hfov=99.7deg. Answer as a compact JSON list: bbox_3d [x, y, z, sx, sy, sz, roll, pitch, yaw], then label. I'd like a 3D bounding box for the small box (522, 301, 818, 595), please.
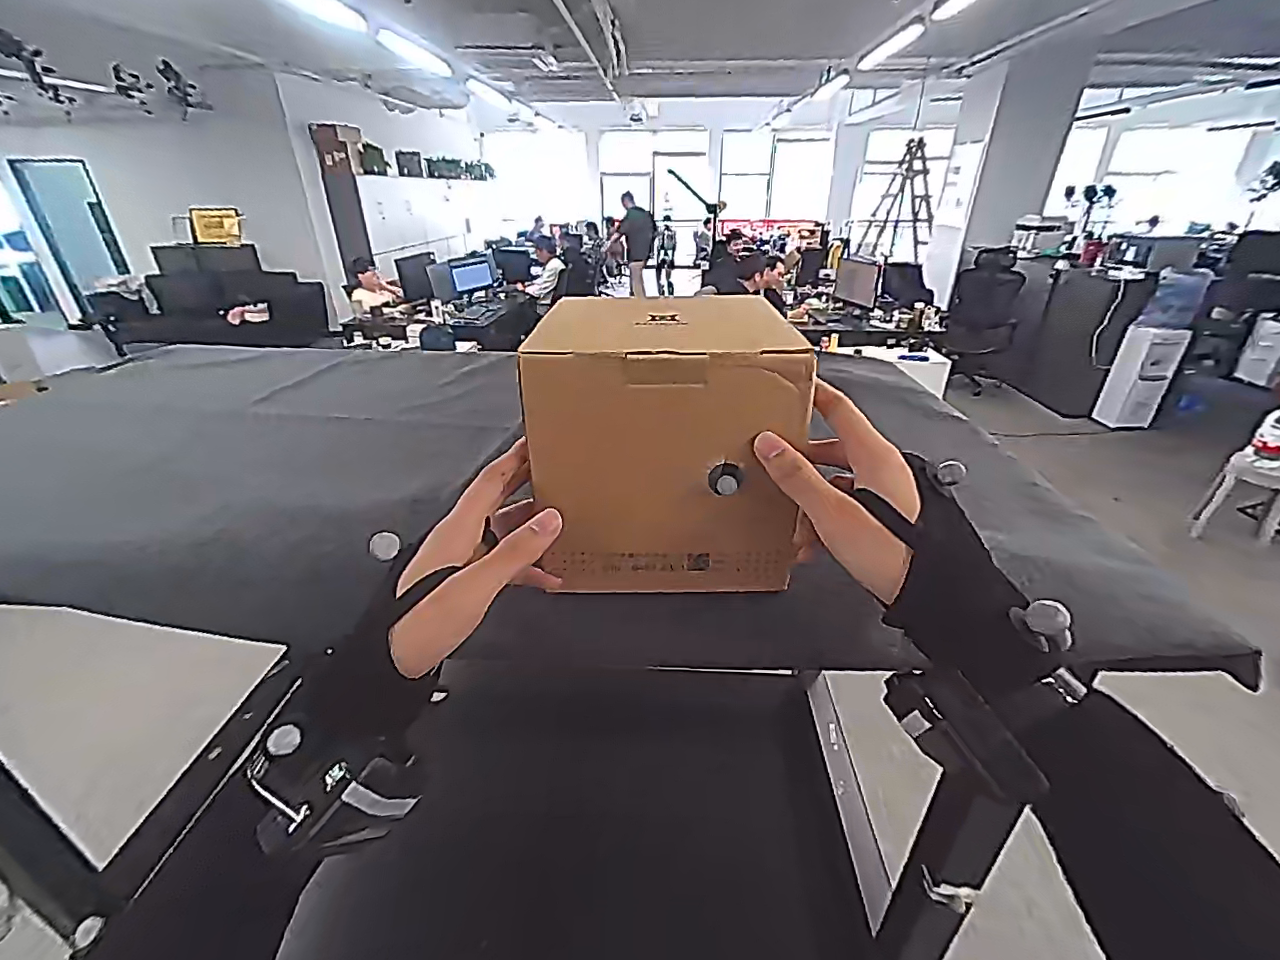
[{"bbox_3d":[0.019,-0.031,0.401,0.168,0.176,0.179,0,28,1],"label":"small box"}]
